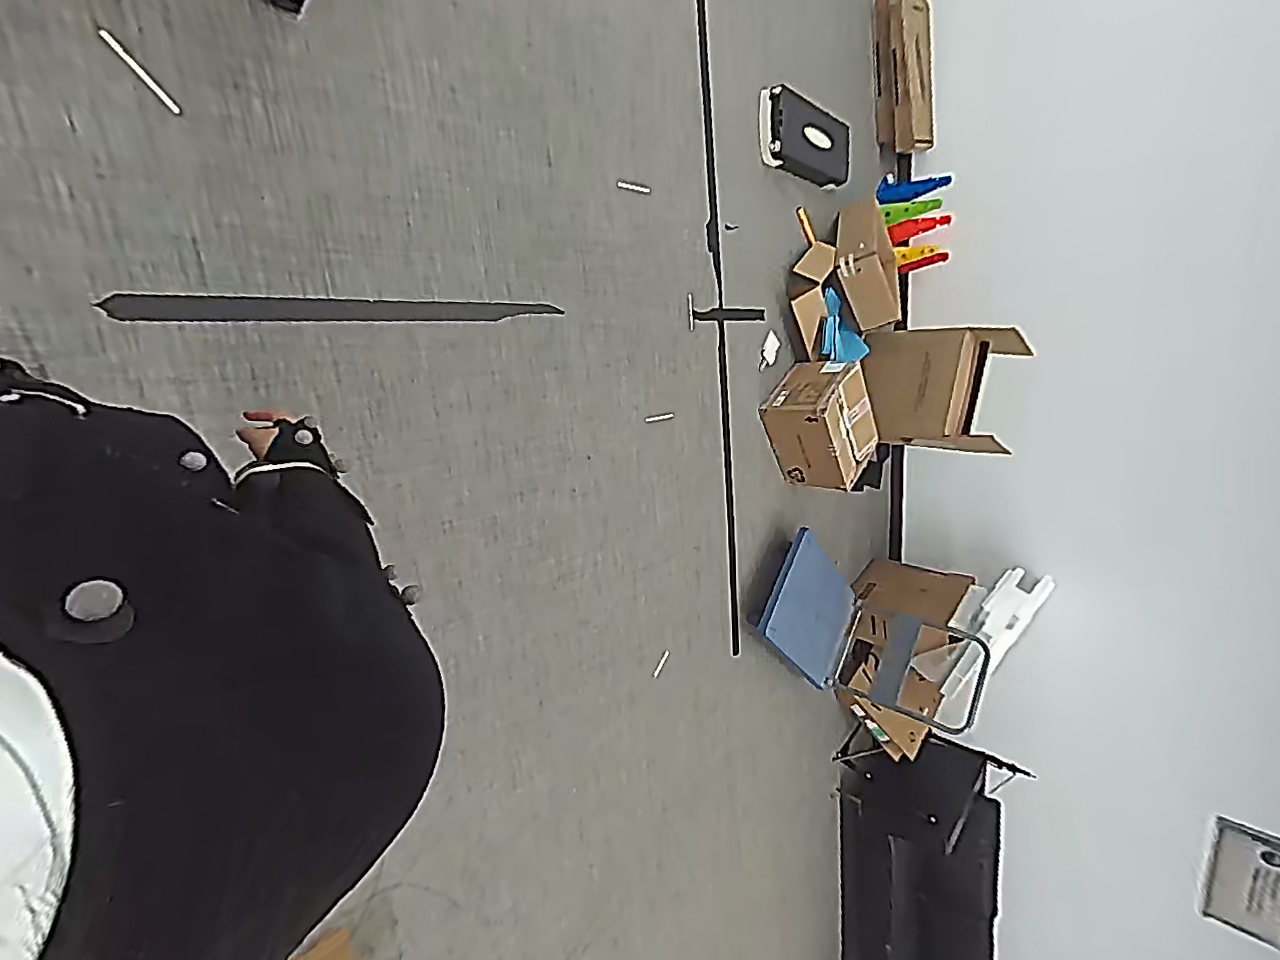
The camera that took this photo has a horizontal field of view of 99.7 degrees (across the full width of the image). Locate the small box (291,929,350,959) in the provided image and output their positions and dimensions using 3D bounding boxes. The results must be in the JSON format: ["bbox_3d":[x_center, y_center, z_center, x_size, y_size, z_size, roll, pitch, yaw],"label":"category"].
[{"bbox_3d":[-0.788,1.270,1.308,0.179,0.176,0.168,-16,107,-43],"label":"small box"}]
